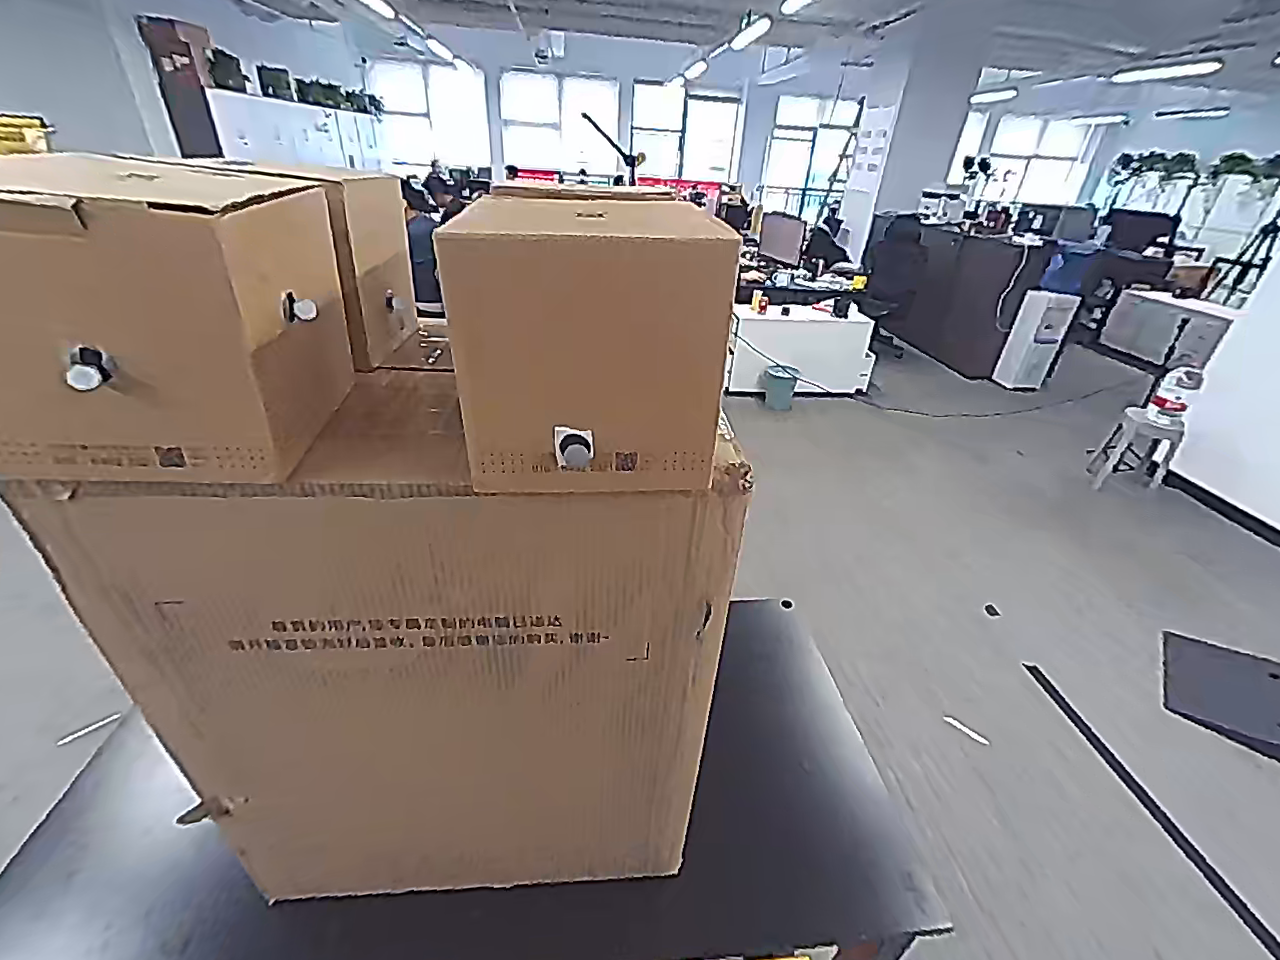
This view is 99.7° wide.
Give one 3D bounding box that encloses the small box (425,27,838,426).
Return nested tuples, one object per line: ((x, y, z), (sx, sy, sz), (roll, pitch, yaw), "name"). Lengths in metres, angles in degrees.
((-0.012, -0.144, 0.322), (0.168, 0.176, 0.179), (-3, 34, -6), "small box")

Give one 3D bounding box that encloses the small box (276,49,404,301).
((-0.324, -0.256, 0.464), (0.179, 0.176, 0.168), (2, 30, -6), "small box")
